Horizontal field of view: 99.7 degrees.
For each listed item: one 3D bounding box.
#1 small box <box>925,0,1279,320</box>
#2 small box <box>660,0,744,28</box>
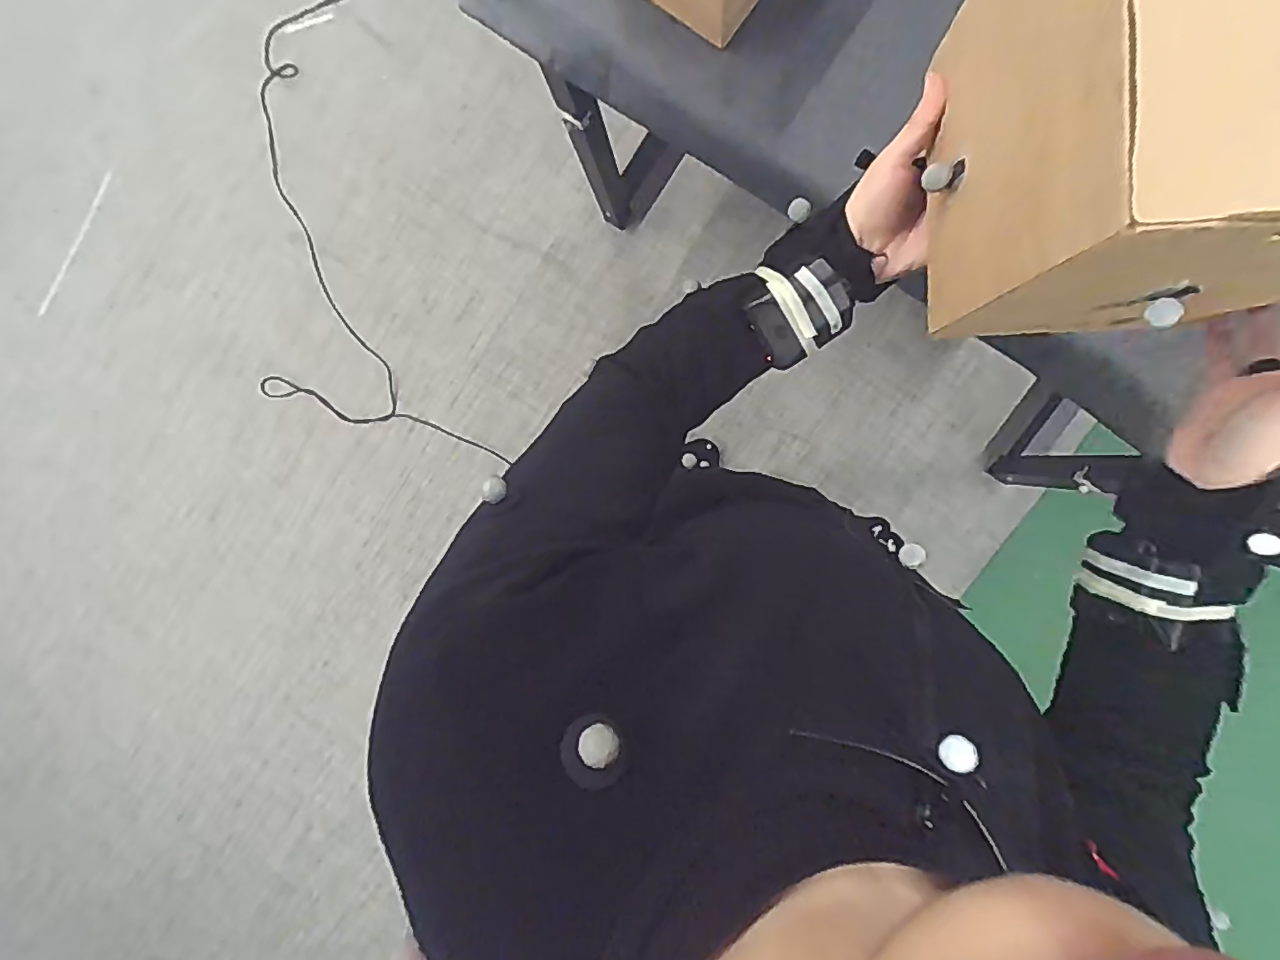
[{"bbox_3d":[0.257,-0.183,0.263,0.168,0.176,0.179,-2,92,6],"label":"small box"},{"bbox_3d":[0.064,-0.603,0.525,0.179,0.176,0.168,37,94,3],"label":"small box"}]
